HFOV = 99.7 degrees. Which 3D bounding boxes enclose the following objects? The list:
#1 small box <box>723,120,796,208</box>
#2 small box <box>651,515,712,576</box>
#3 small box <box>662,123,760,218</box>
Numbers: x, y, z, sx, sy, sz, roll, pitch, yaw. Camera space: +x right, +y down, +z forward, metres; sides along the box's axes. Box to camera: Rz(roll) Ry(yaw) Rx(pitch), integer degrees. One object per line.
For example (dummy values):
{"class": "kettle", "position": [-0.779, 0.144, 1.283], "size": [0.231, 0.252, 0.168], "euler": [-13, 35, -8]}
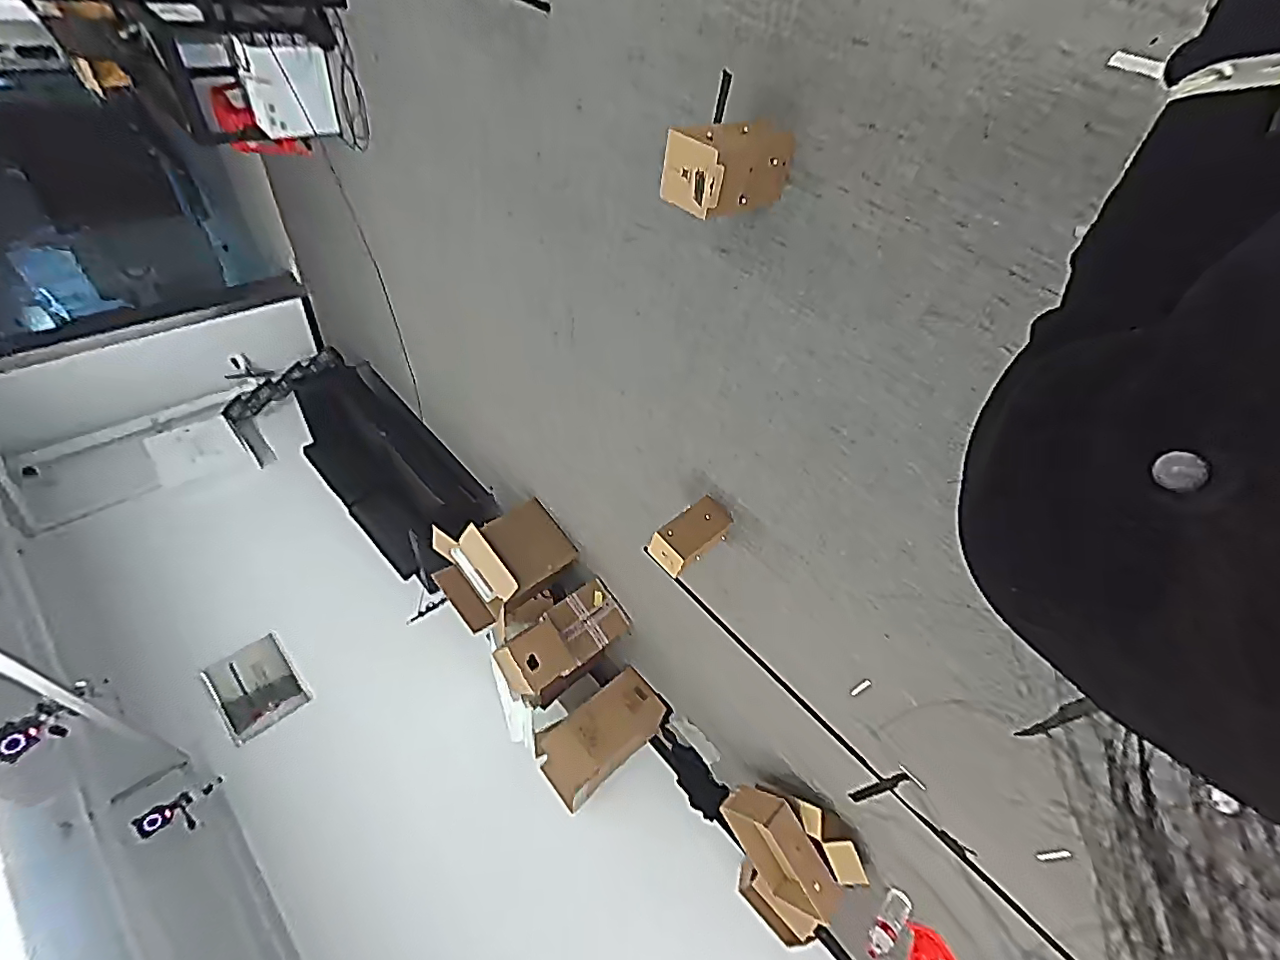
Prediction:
{"class": "small box", "position": [0.302, -0.885, 1.507], "size": [0.179, 0.176, 0.168], "euler": [40, 143, 27]}
{"class": "small box", "position": [0.177, 0.273, 2.328], "size": [0.179, 0.176, 0.168], "euler": [44, 146, 19]}
{"class": "small box", "position": [0.186, -0.815, 1.414], "size": [0.179, 0.176, 0.168], "euler": [41, 143, 26]}
